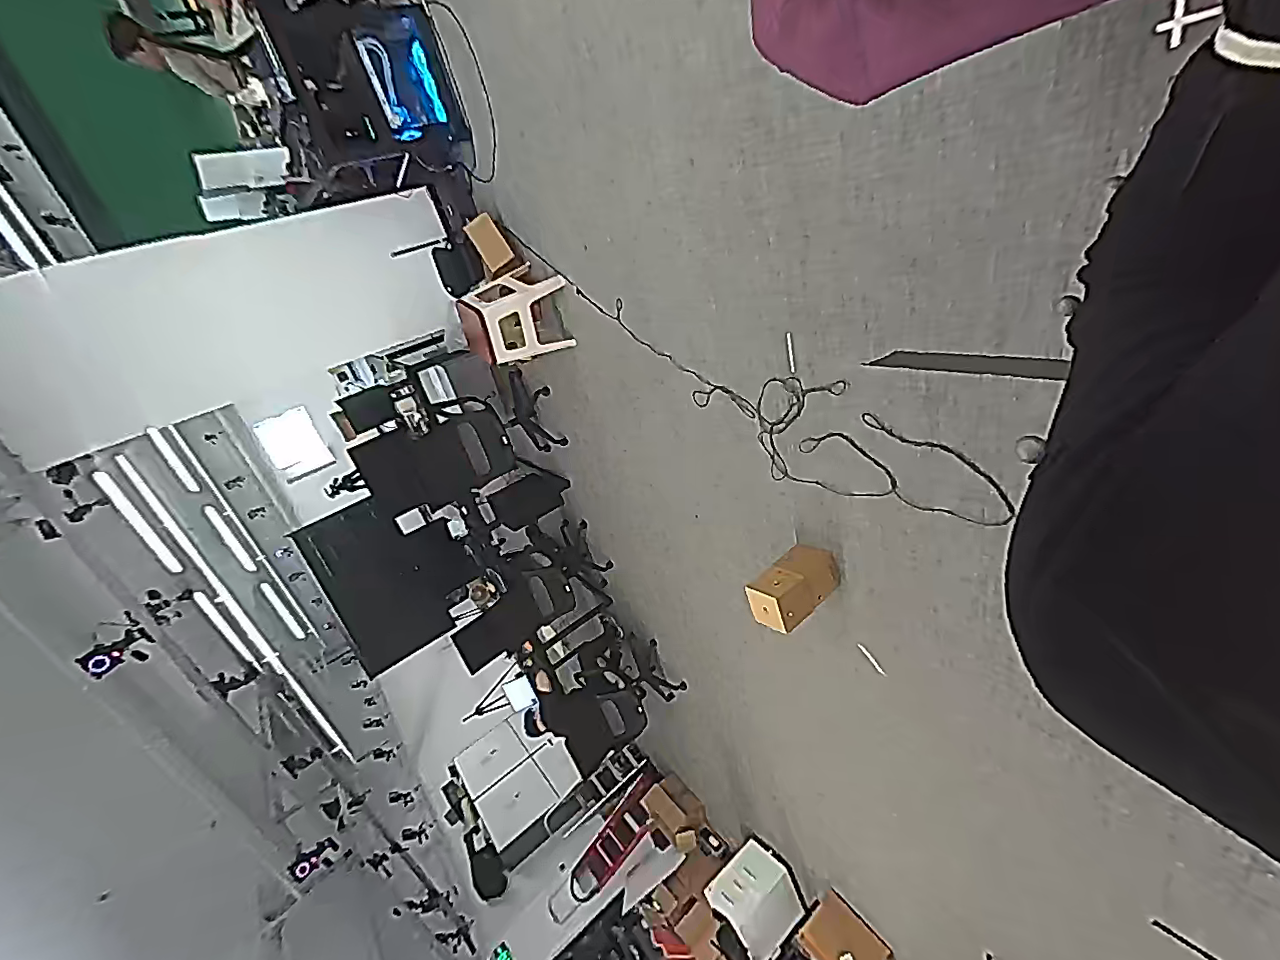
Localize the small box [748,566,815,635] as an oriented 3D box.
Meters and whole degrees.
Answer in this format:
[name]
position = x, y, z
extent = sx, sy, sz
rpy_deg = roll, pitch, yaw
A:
[small box]
position = 0.552, 0.461, 2.100
extent = 0.168, 0.176, 0.179
rpy_deg = 12, 128, 57
